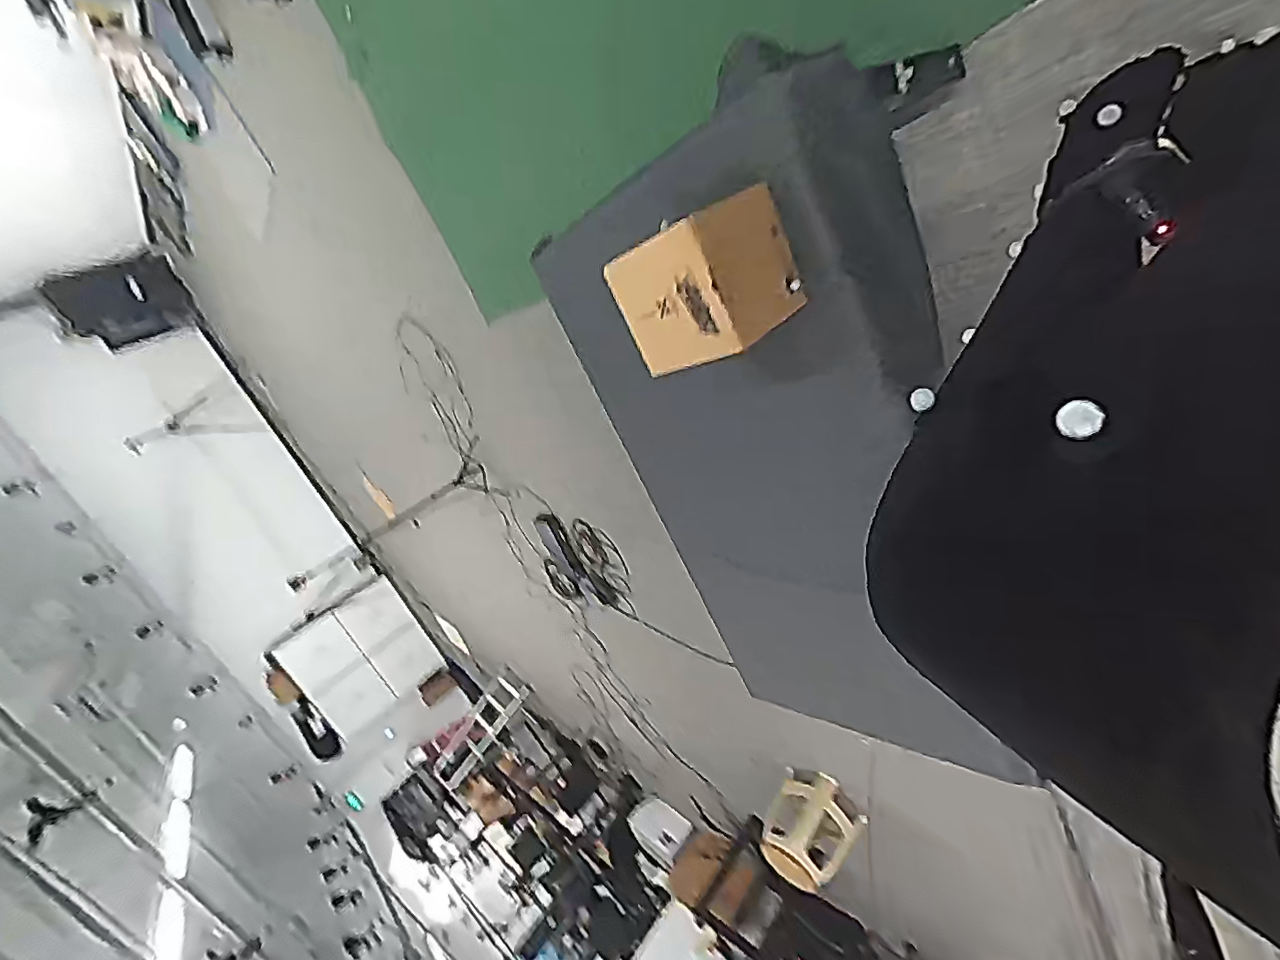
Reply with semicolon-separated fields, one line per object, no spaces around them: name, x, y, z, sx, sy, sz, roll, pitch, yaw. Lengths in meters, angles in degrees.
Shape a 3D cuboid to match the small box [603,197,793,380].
small box;0.088;-0.260;0.747;0.179;0.176;0.168;-3;120;52
